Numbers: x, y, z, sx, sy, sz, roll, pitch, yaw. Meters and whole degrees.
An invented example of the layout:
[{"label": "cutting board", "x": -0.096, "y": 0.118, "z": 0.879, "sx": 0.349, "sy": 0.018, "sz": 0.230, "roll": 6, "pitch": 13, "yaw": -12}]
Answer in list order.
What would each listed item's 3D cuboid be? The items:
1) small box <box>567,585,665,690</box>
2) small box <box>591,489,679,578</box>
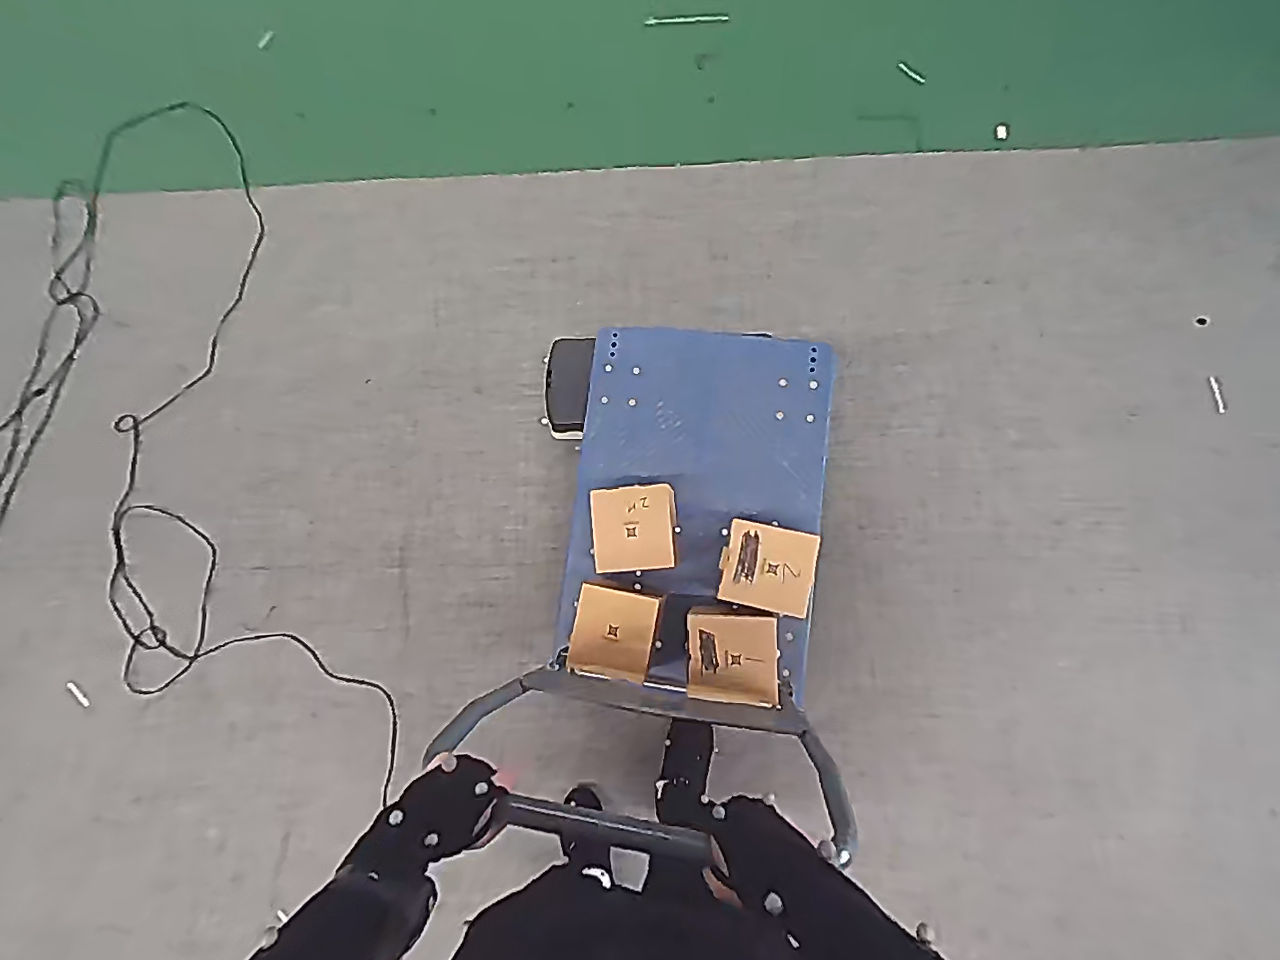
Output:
[{"label": "small box", "x": -0.044, "y": 0.329, "z": 1.171, "sx": 0.168, "sy": 0.176, "sz": 0.179, "roll": 10, "pitch": 84, "yaw": 9}, {"label": "small box", "x": -0.005, "y": 0.118, "z": 1.189, "sx": 0.168, "sy": 0.176, "sz": 0.179, "roll": -5, "pitch": 82, "yaw": 7}]
